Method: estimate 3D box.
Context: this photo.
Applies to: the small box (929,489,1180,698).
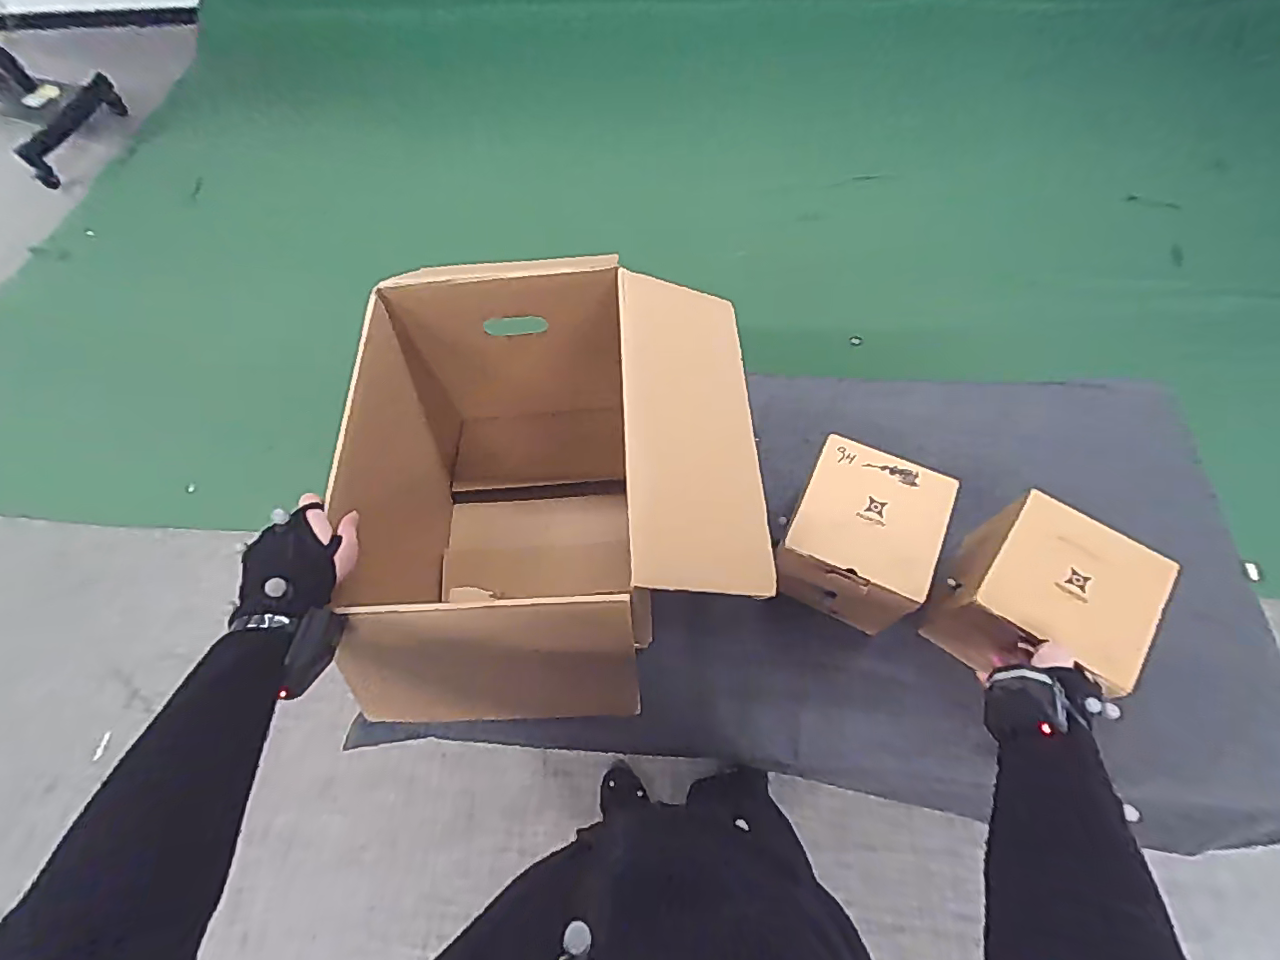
[{"bbox_3d":[0.496,0.150,0.676,0.168,0.176,0.179,33,70,17],"label":"small box"}]
